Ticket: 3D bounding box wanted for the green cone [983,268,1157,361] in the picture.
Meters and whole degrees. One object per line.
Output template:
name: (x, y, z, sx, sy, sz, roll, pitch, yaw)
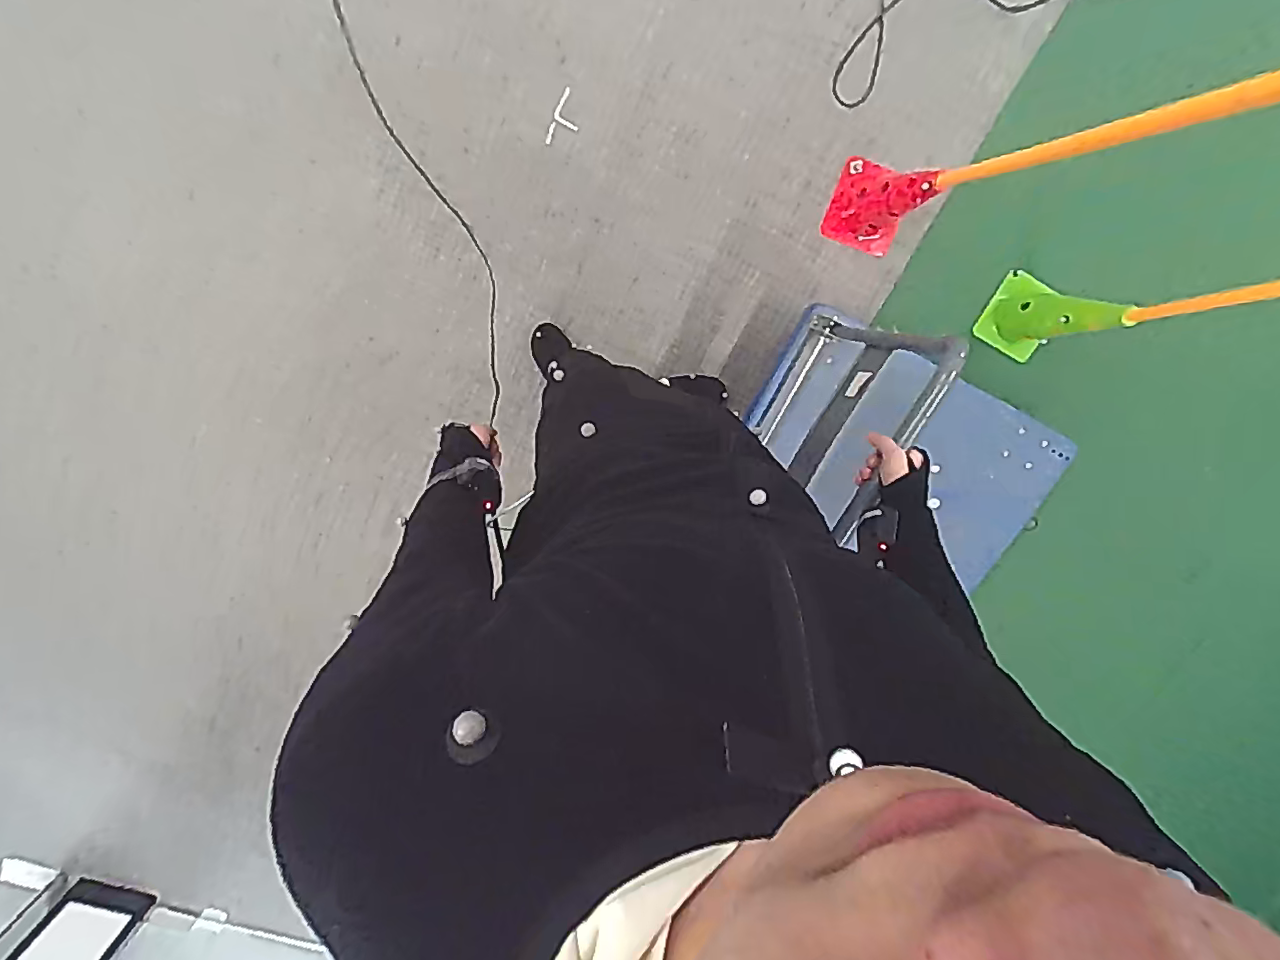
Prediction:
green cone: (1.086, -0.403, 1.338, 0.202, 0.368, 0.200, 25, 105, -11)
